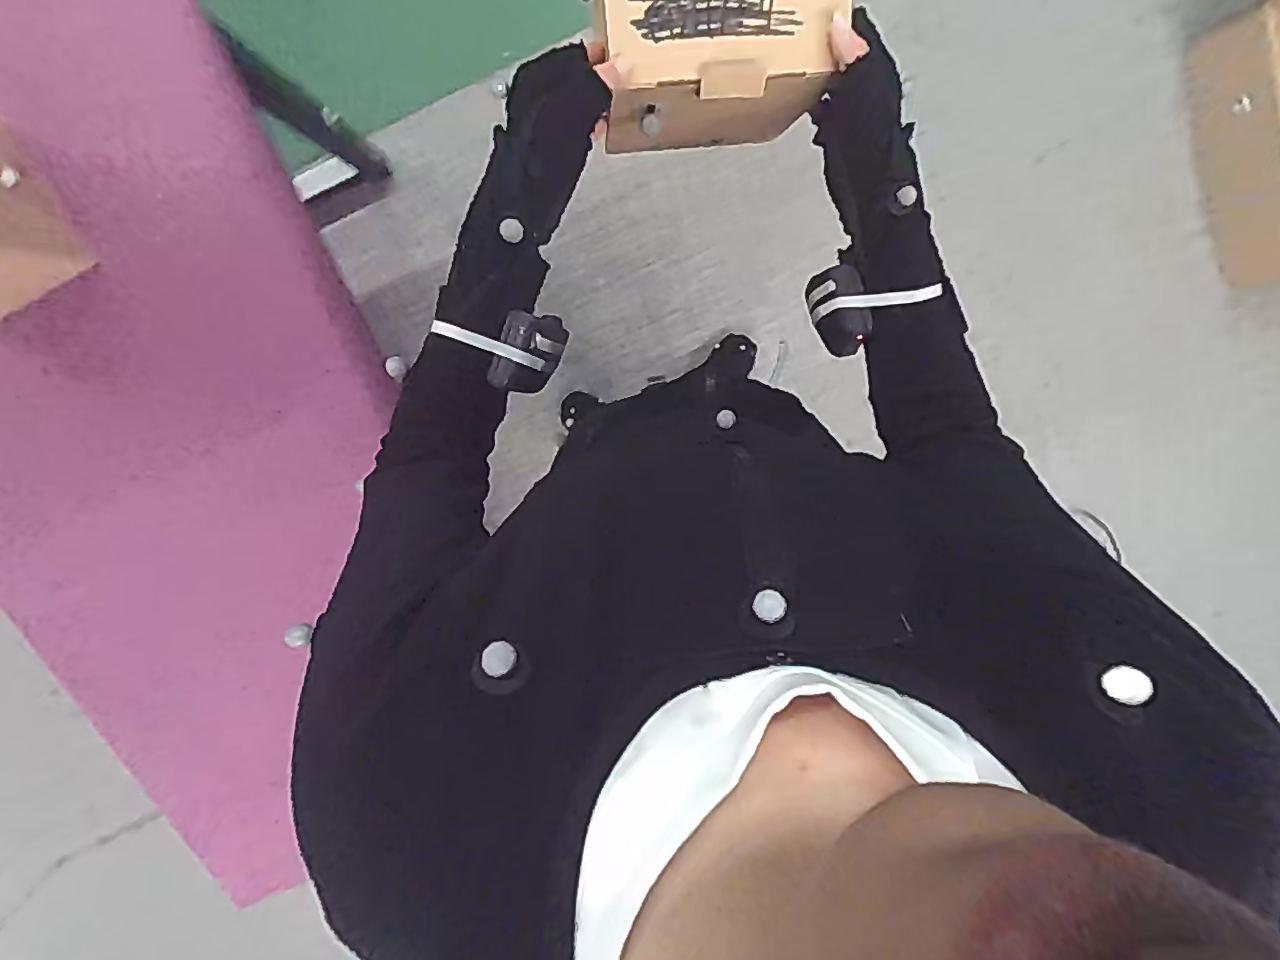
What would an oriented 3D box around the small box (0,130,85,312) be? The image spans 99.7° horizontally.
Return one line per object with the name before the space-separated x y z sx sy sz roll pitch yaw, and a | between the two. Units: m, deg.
small box | -0.749 -0.269 0.545 0.179 0.176 0.168 -26 105 4
